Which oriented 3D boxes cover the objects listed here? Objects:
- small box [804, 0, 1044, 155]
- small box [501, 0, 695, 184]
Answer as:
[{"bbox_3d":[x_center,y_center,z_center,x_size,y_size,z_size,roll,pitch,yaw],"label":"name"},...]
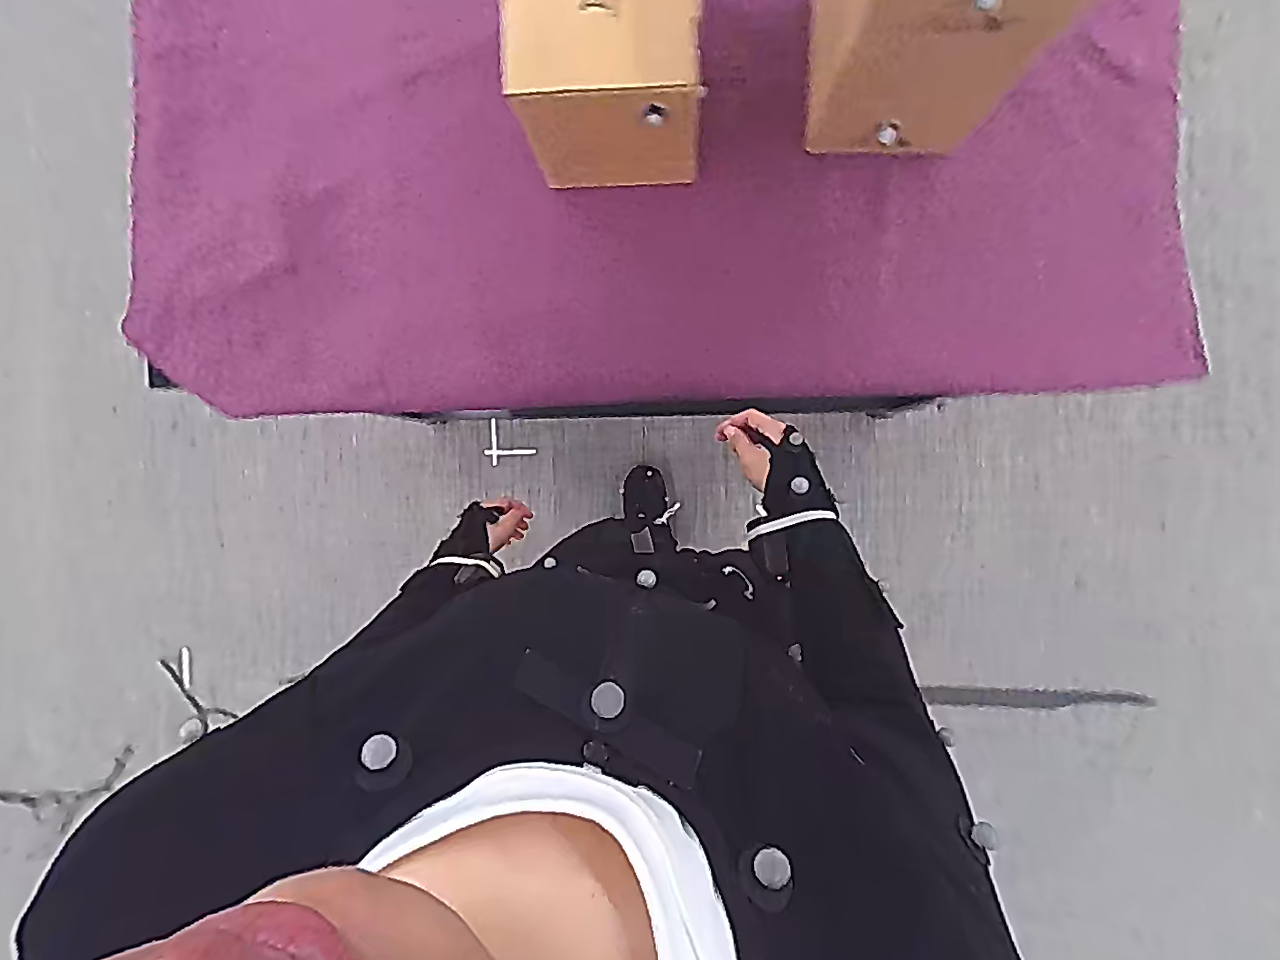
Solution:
[{"bbox_3d":[0.267,-0.460,0.536,0.168,0.176,0.179,3,92,4],"label":"small box"},{"bbox_3d":[-0.033,-0.430,0.559,0.179,0.176,0.168,-1,91,3],"label":"small box"}]
